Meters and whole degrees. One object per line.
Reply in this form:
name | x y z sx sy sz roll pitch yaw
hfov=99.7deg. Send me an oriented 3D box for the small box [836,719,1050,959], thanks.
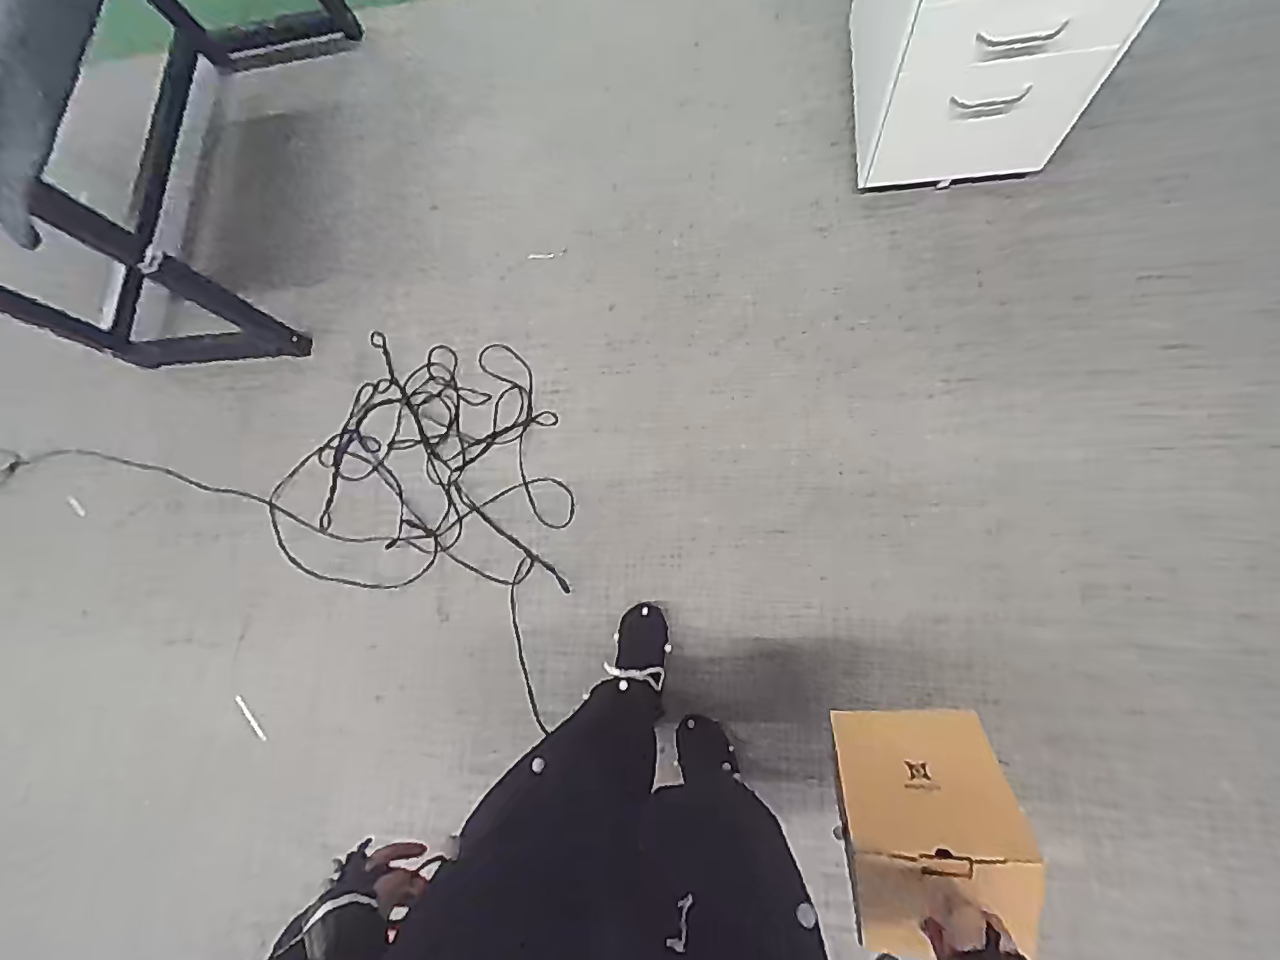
small box | 0.321 0.400 0.611 0.168 0.179 0.176 -6 113 13
